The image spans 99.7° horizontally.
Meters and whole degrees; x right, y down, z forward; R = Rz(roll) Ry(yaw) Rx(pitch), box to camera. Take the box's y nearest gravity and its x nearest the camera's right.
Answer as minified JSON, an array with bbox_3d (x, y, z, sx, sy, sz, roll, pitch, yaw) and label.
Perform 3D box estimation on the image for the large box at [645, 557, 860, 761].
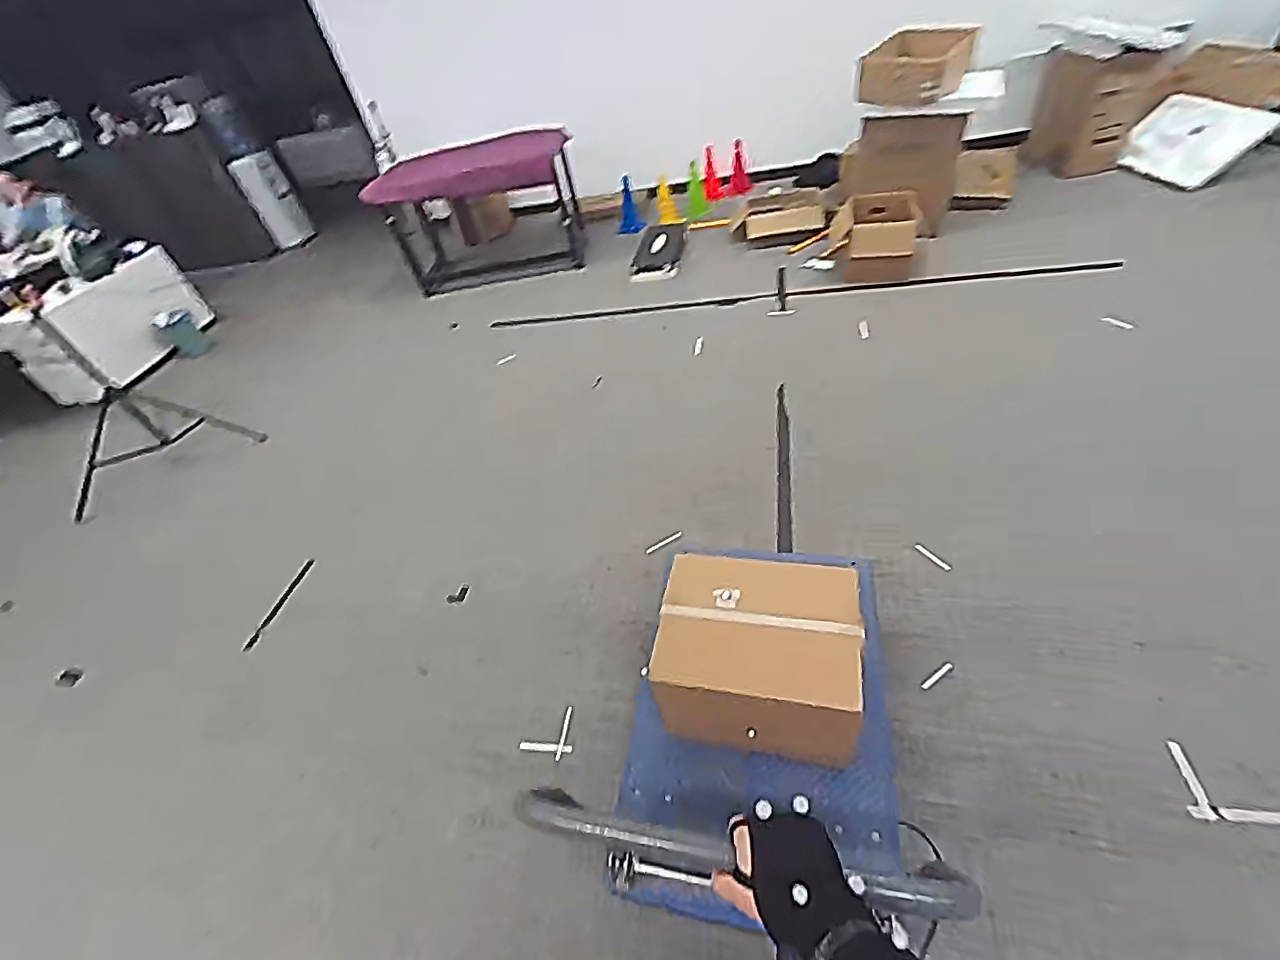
[{"bbox_3d":[0.261,0.395,1.210,0.408,0.320,0.320,1,45,17],"label":"large box"}]
